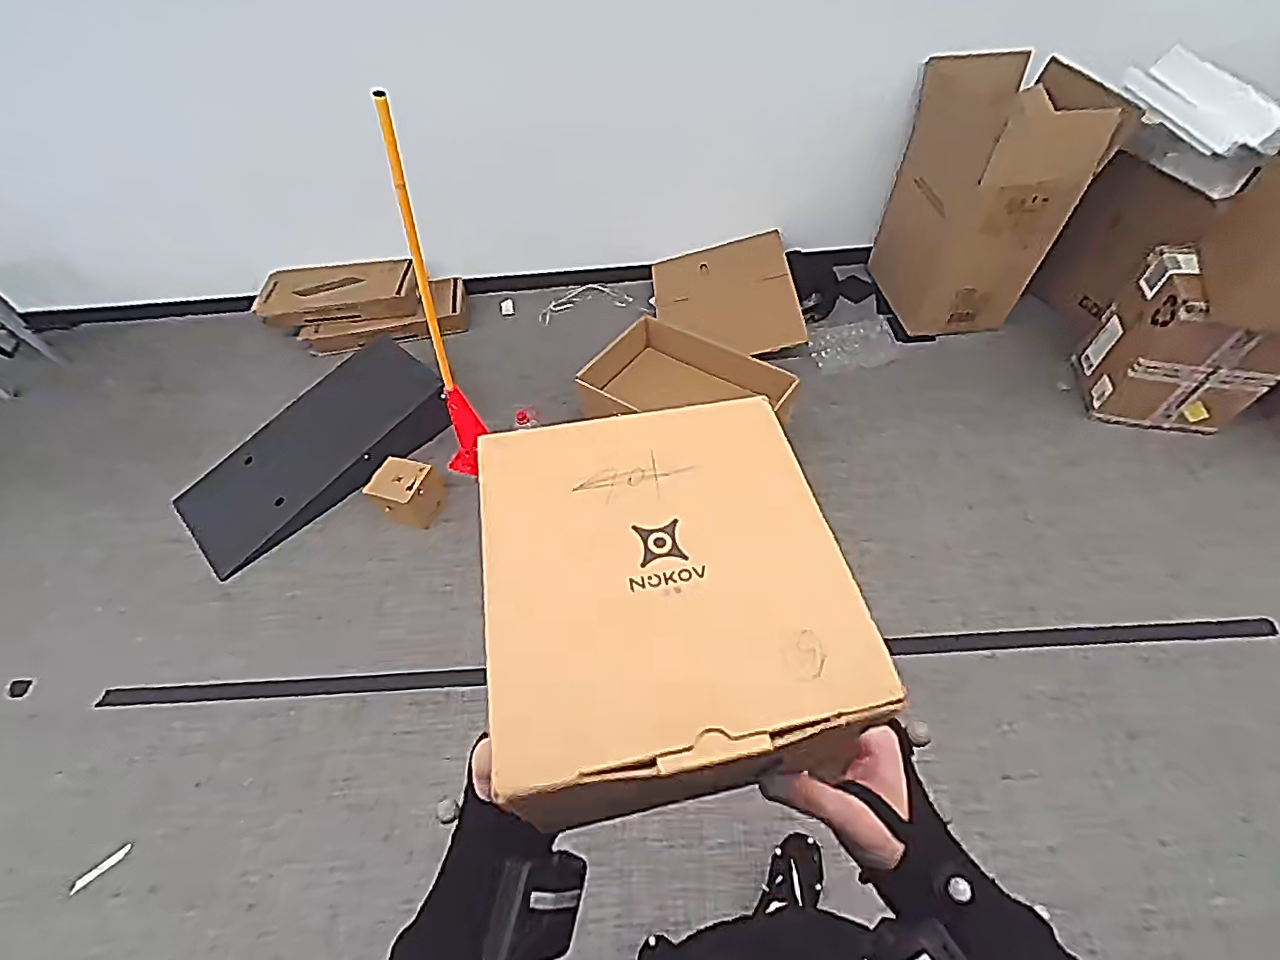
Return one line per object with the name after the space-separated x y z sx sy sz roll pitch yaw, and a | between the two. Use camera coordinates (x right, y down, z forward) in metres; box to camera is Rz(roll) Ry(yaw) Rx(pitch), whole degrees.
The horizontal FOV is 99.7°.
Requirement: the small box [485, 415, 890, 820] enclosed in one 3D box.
0.009 0.089 0.327 0.168 0.176 0.179 -9 55 -9 | small box
